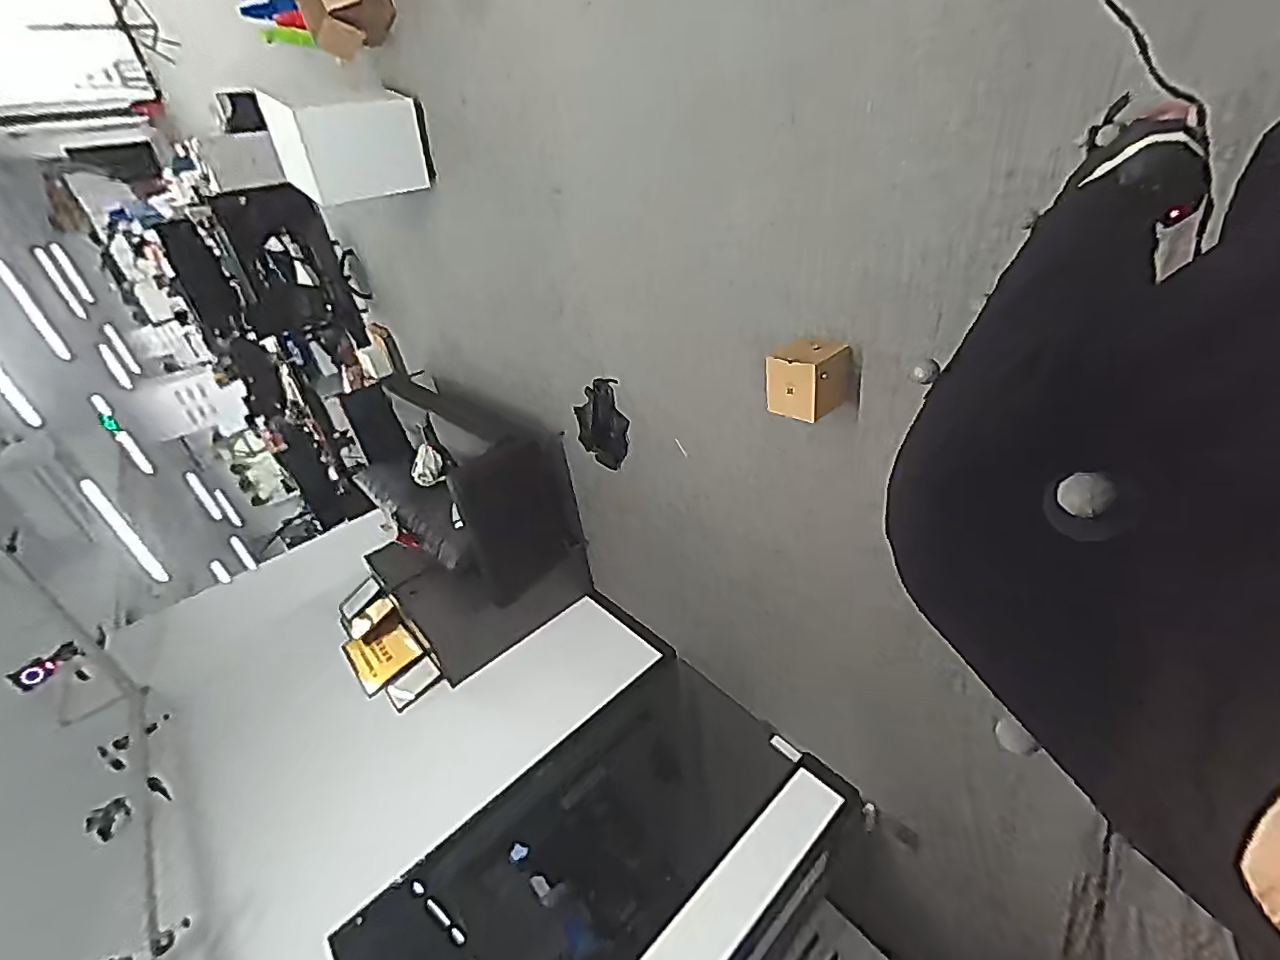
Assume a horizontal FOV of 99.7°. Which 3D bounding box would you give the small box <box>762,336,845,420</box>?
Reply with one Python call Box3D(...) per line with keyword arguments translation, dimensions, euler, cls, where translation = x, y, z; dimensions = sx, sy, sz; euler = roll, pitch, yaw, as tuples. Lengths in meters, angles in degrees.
Box3D(translation=(0.474, -0.300, 1.567), dimensions=(0.168, 0.176, 0.179), euler=(26, 135, 44), cls="small box")
